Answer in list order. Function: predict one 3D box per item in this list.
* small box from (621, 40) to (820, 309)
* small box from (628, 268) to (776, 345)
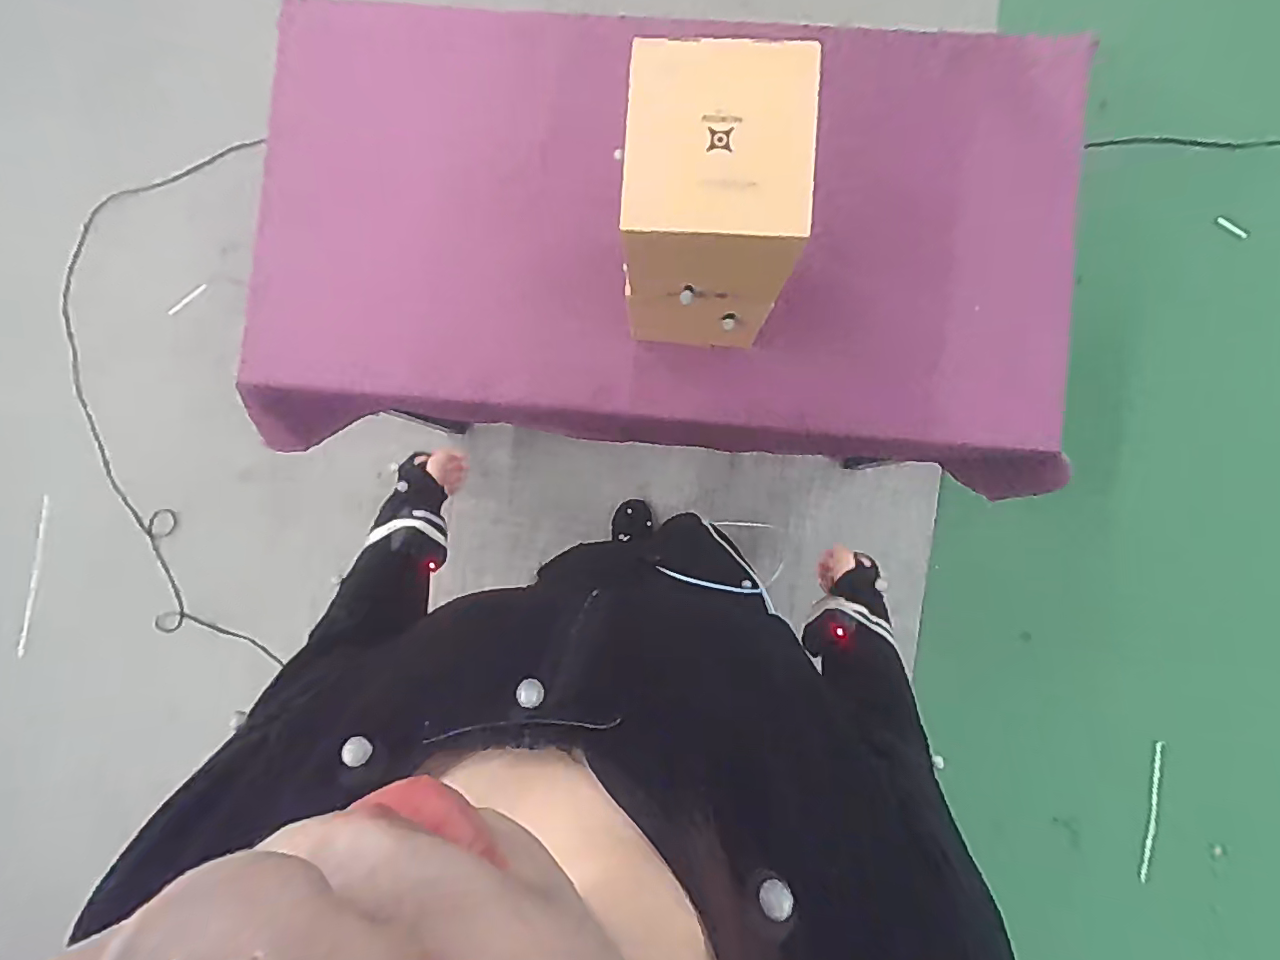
[{"bbox_3d":[0.074,-0.294,0.552,0.168,0.176,0.179,4,89,3],"label":"small box"},{"bbox_3d":[0.082,-0.285,0.715,0.179,0.176,0.168,5,88,3],"label":"small box"}]
